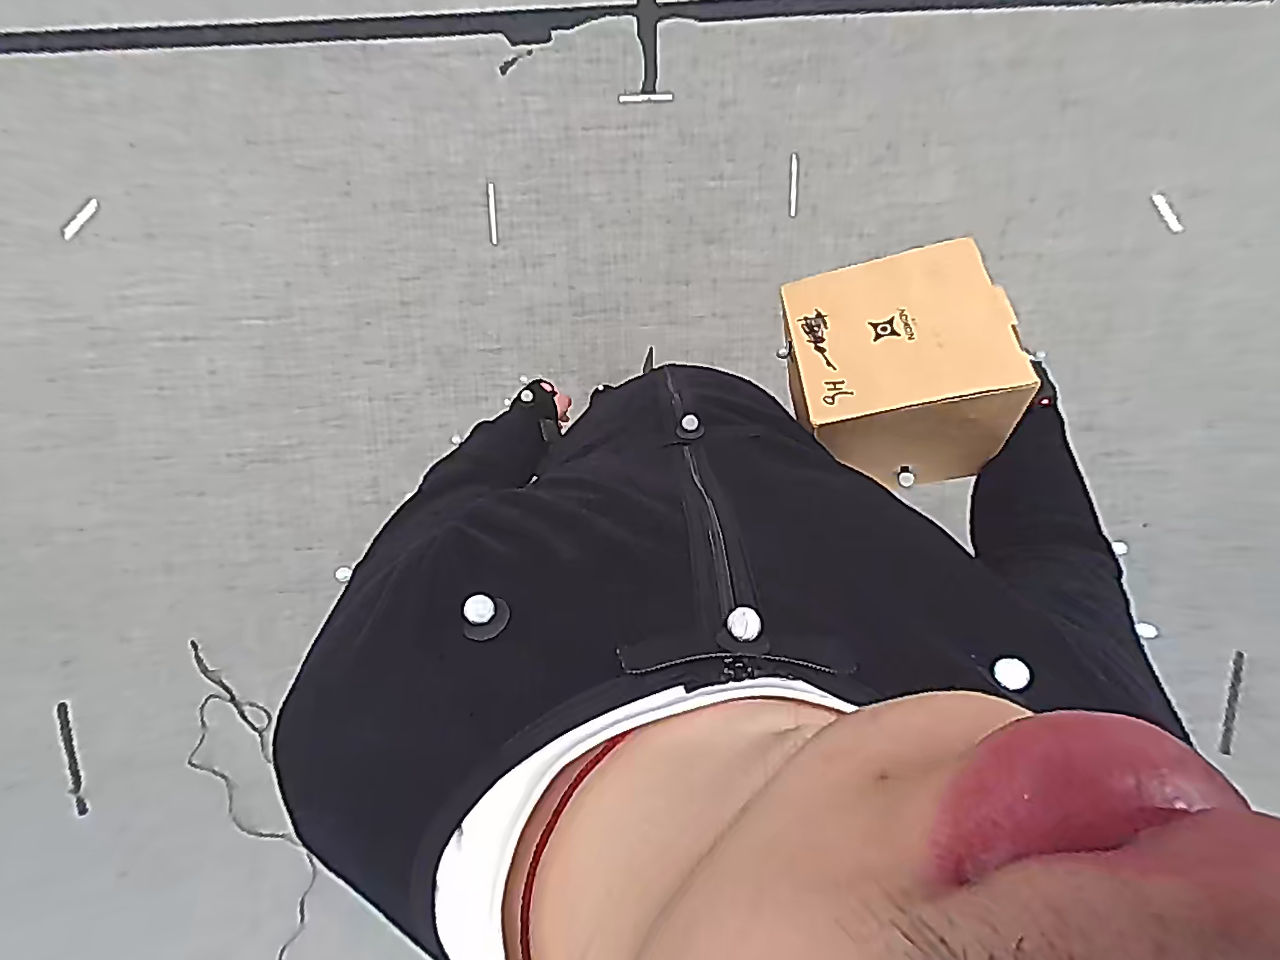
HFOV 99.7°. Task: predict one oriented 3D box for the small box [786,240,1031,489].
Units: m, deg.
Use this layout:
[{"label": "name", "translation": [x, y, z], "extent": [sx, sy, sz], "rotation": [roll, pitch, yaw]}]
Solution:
[{"label": "small box", "translation": [0.255, -0.106, 0.560], "extent": [0.179, 0.176, 0.168], "rotation": [-10, 62, 14]}]
